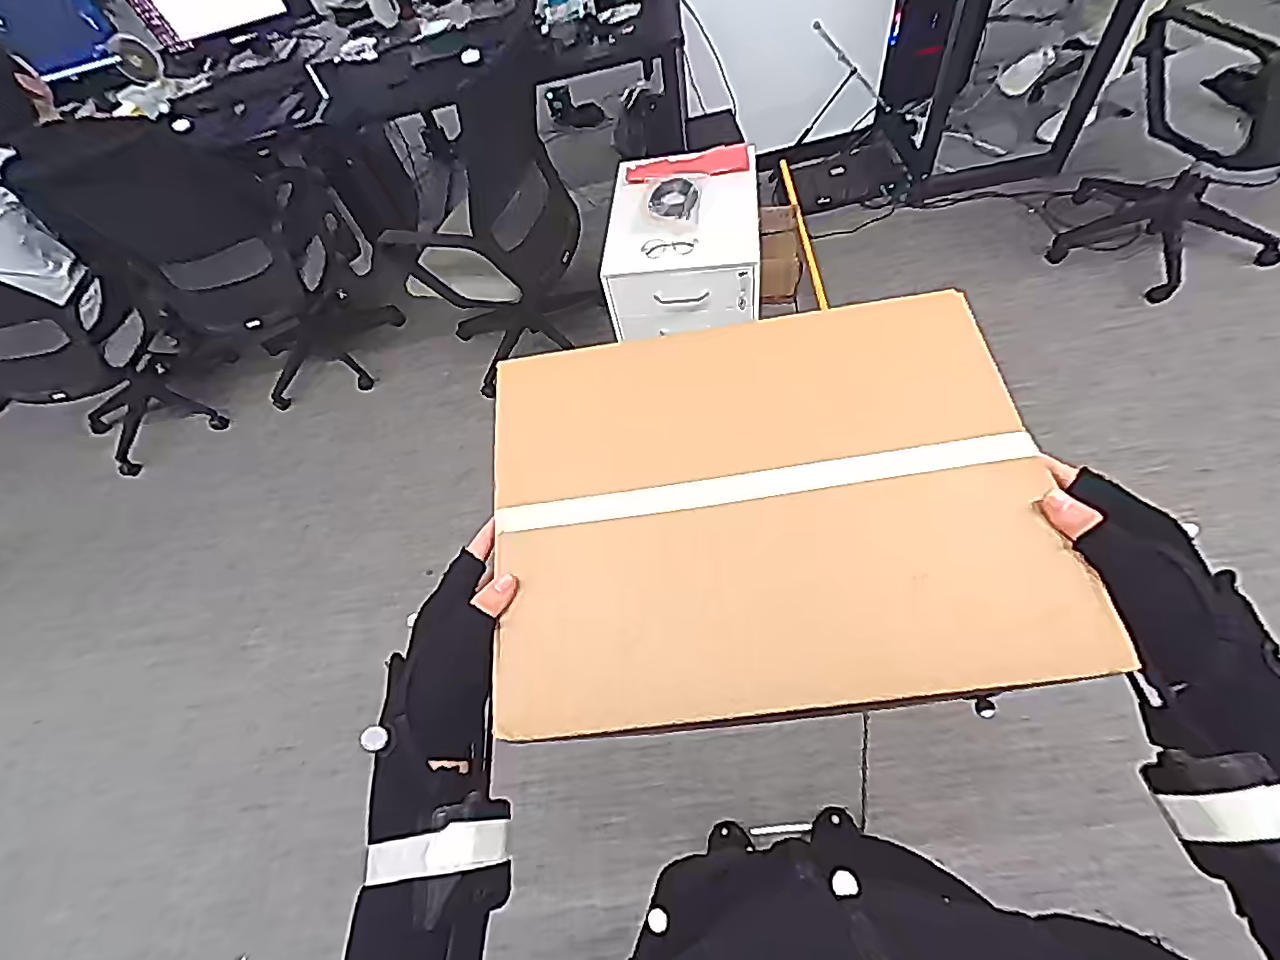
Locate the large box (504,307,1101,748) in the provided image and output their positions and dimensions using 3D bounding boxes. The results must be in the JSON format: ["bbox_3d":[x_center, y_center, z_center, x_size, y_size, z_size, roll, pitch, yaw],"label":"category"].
[{"bbox_3d":[0.107,0.076,0.556,0.408,0.320,0.320,-9,64,4],"label":"large box"}]
